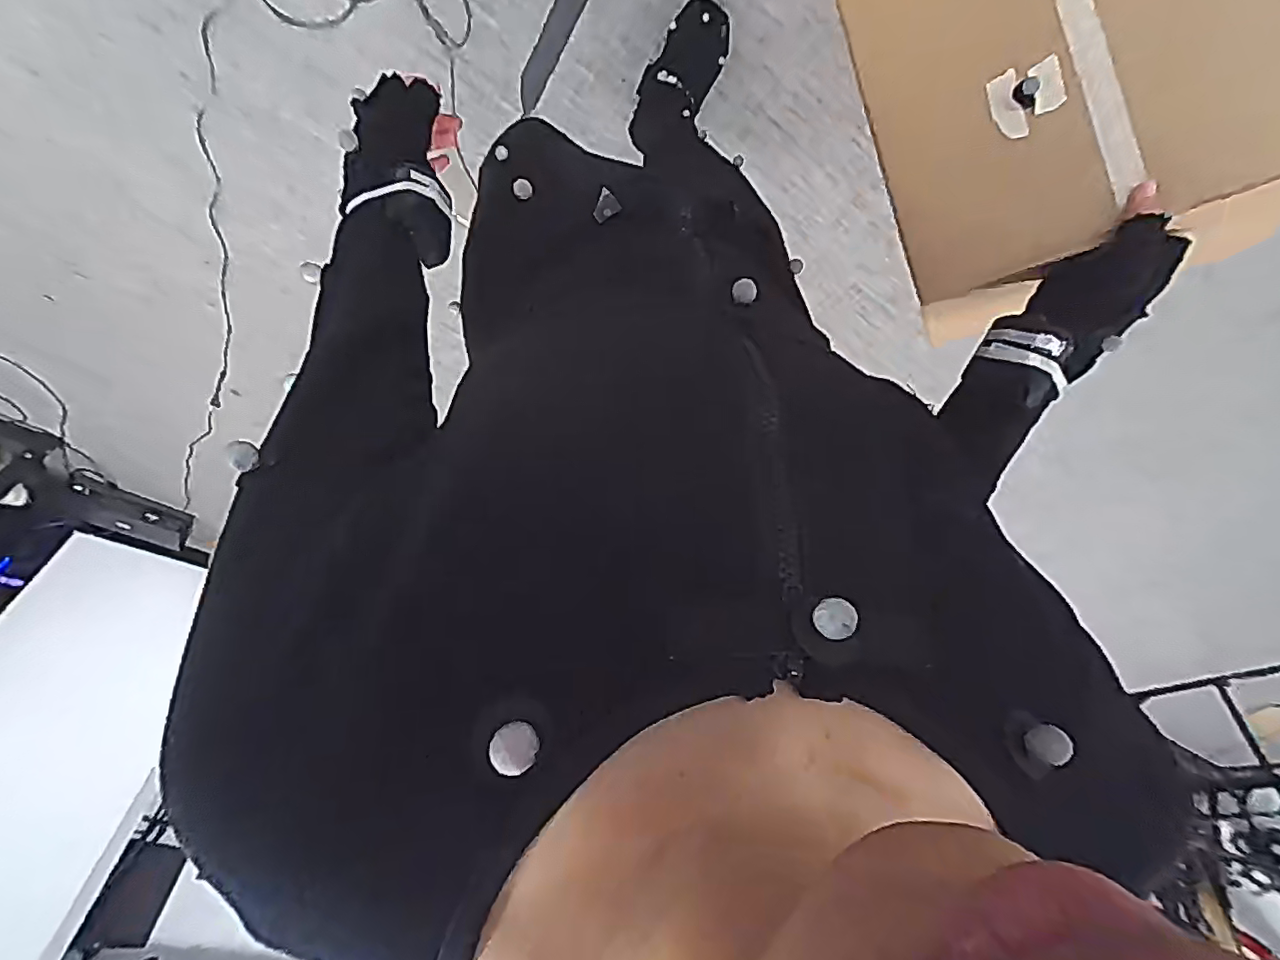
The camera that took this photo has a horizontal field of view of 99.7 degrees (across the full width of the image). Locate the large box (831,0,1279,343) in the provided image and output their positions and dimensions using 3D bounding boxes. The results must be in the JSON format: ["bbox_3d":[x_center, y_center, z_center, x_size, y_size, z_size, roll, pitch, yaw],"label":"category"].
[{"bbox_3d":[0.418,-0.404,0.569,0.320,0.408,0.320,-15,178,30],"label":"large box"}]
